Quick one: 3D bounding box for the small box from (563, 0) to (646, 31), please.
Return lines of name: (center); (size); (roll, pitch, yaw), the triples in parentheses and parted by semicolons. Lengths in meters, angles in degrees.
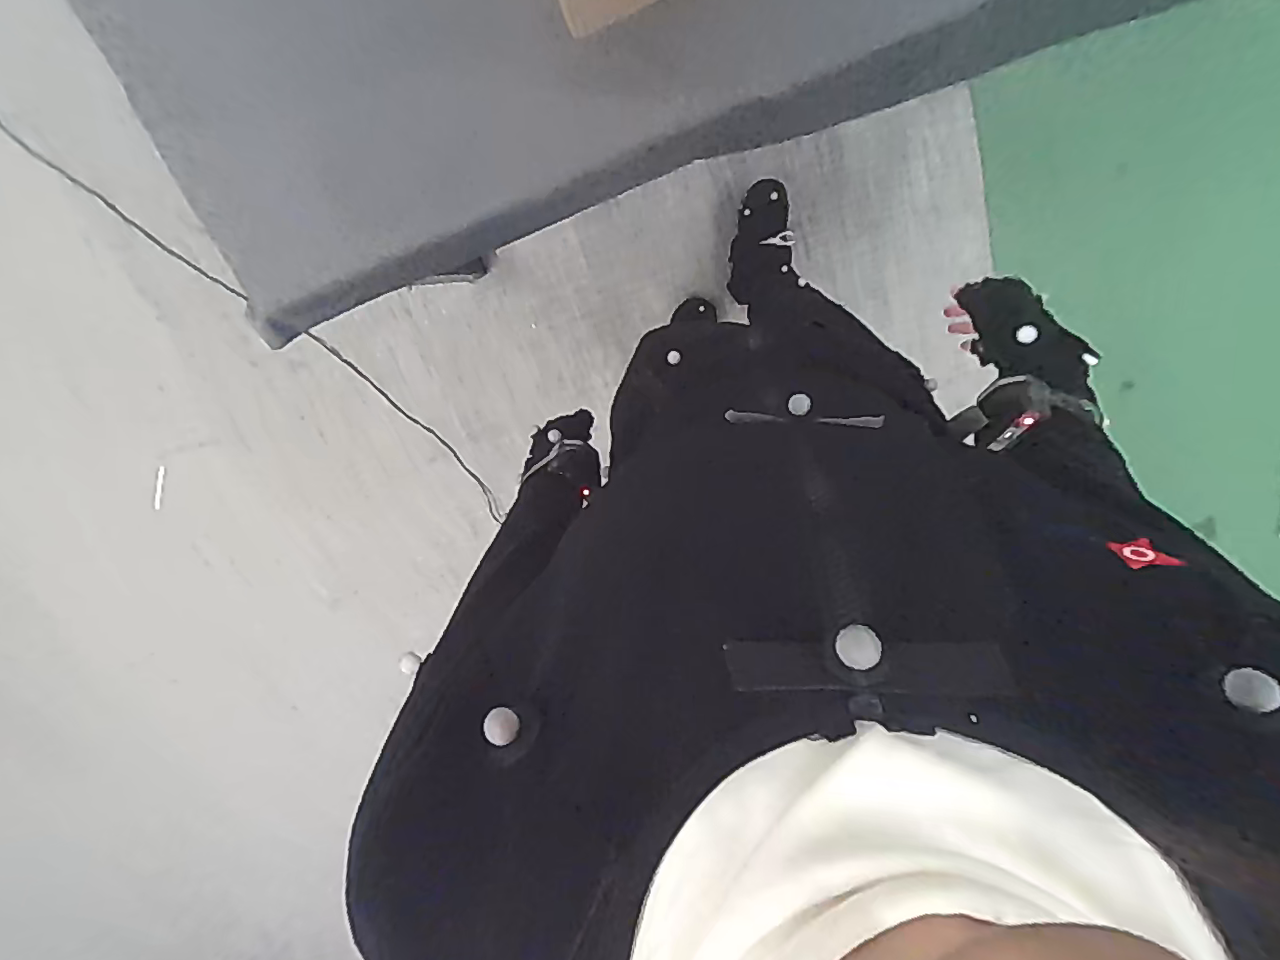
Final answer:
small box: (-0.013, -0.508, 0.424); (0.179, 0.176, 0.168); (-21, 110, 8)
